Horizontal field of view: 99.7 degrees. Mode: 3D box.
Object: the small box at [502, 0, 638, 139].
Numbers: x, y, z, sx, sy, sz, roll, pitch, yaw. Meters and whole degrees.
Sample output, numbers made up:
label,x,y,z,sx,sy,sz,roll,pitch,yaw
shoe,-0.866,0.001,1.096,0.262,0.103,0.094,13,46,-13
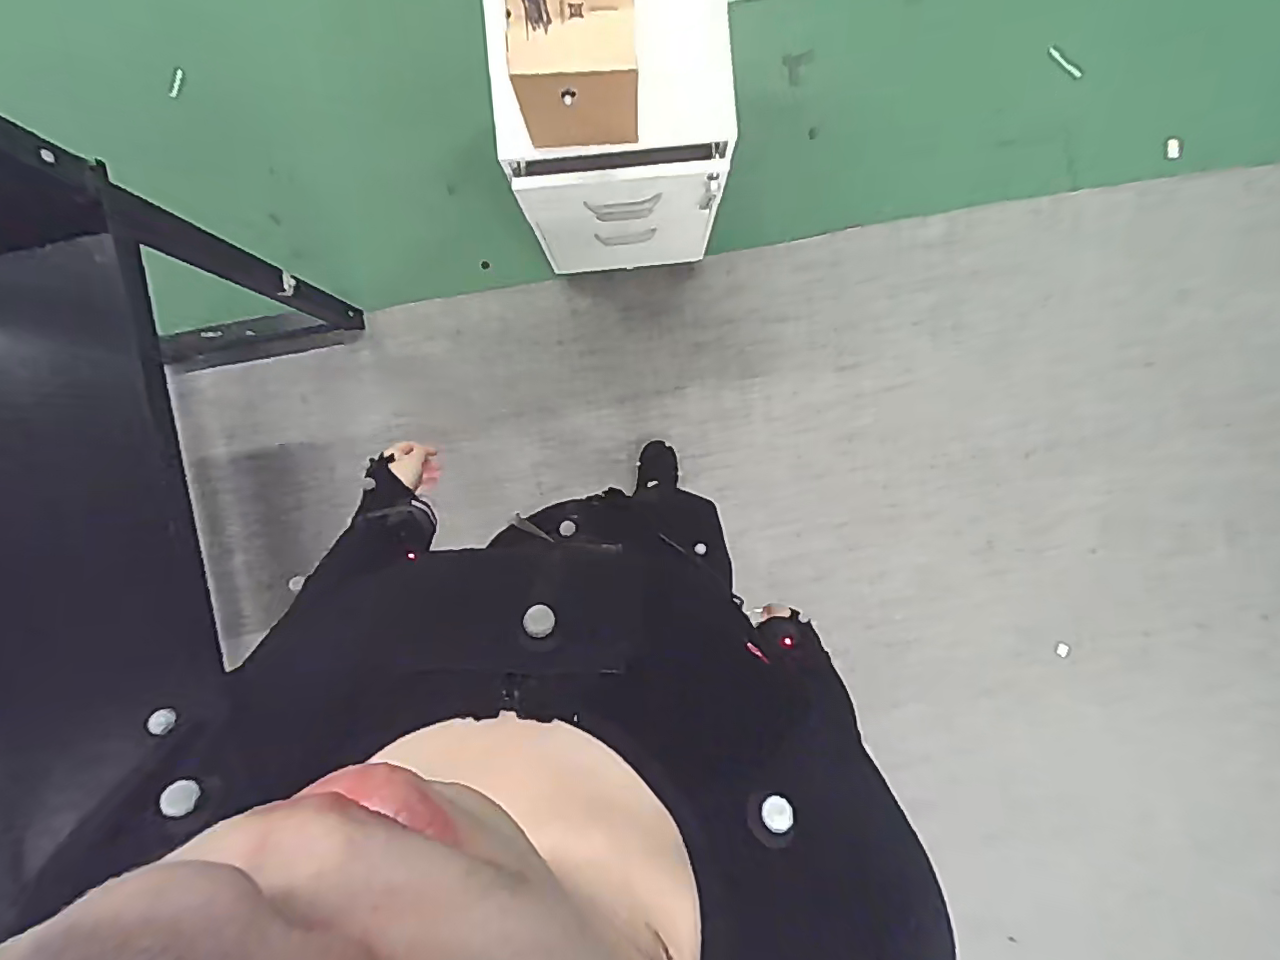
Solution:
label,x,y,z,sx,sy,sz,roll,pitch,yaw
small box,-0.094,-0.625,0.784,0.179,0.176,0.168,-2,92,-1
